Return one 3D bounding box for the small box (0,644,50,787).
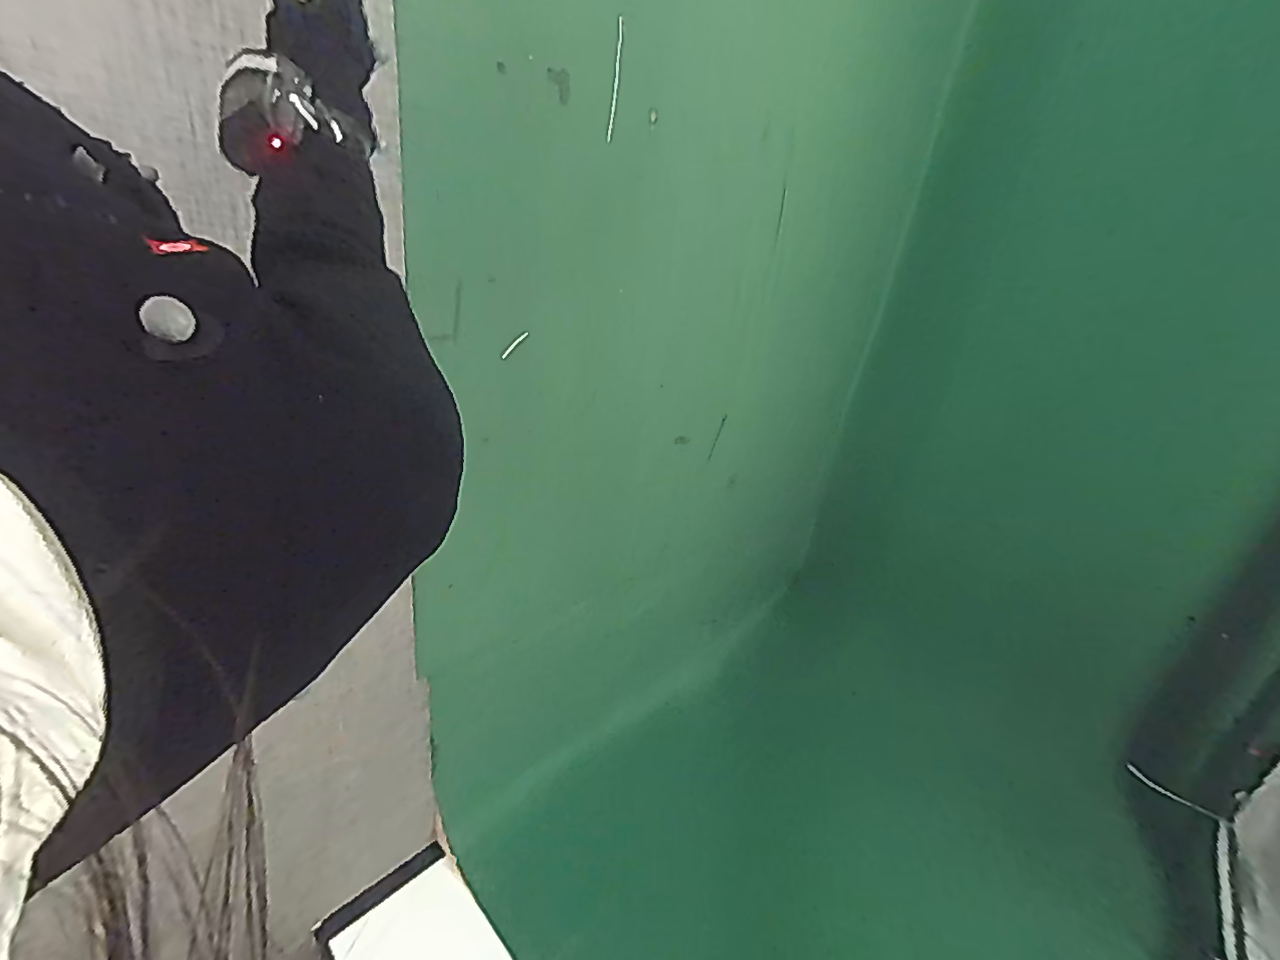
[{"bbox_3d":[-1.134,0.412,0.907,0.168,0.176,0.179,-16,122,-47],"label":"small box"}]

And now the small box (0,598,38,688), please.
[{"bbox_3d":[-1.253,0.345,0.996,0.179,0.176,0.168,-14,121,-45],"label":"small box"}]
